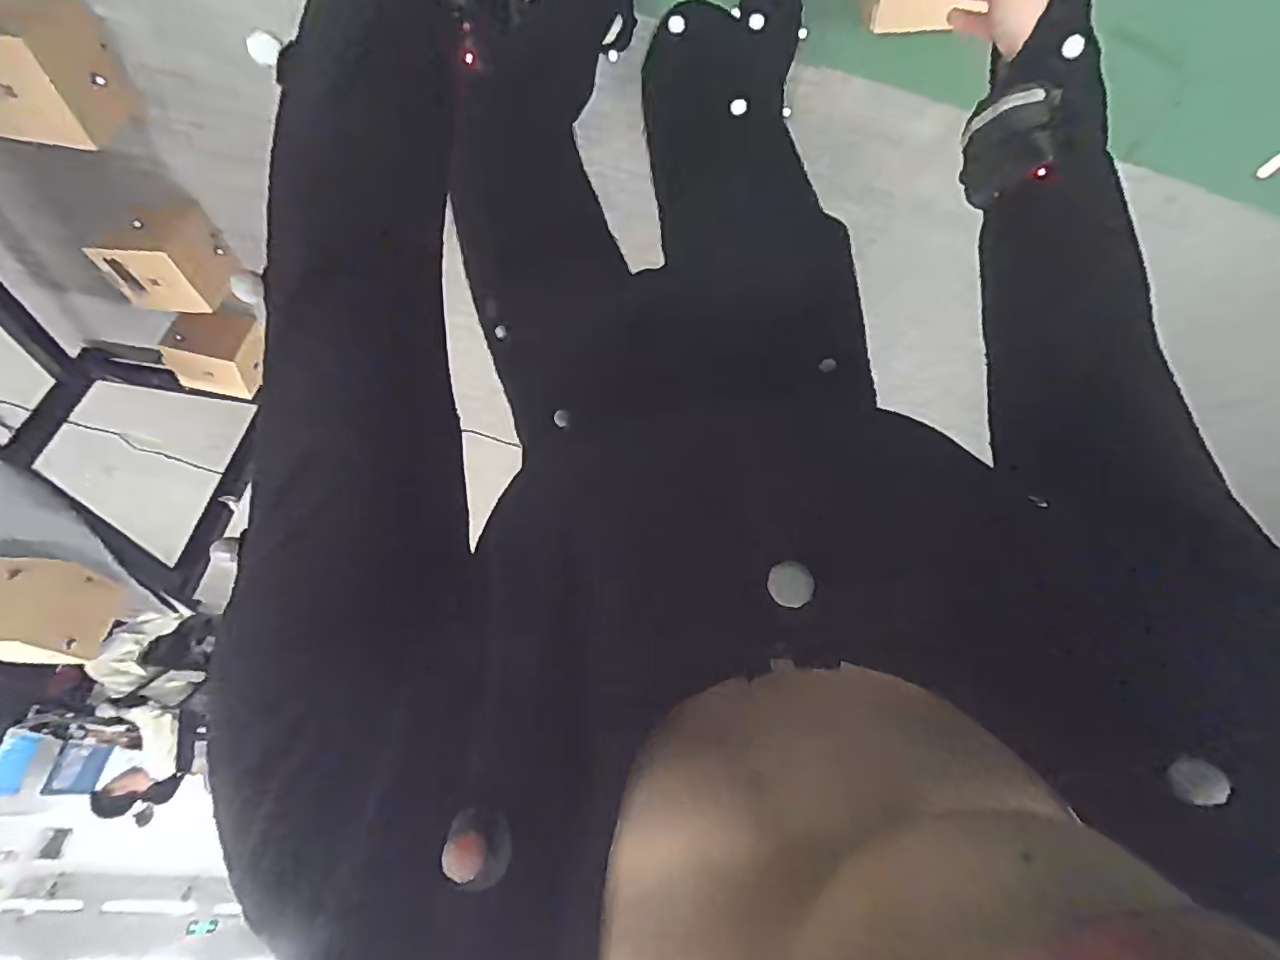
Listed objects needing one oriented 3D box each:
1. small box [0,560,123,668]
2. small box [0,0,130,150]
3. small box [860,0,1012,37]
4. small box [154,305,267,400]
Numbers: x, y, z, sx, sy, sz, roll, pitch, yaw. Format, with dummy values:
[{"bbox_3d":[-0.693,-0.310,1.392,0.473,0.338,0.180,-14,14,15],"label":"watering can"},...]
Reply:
[{"bbox_3d":[-1.223,0.270,1.089,0.179,0.176,0.168,2,148,1],"label":"small box"},{"bbox_3d":[-1.014,-0.689,0.900,0.179,0.176,0.168,7,148,-6],"label":"small box"},{"bbox_3d":[0.406,-0.725,0.721,0.179,0.176,0.168,0,149,3],"label":"small box"},{"bbox_3d":[-1.152,-0.349,1.473,0.179,0.176,0.168,12,148,-13],"label":"small box"}]
